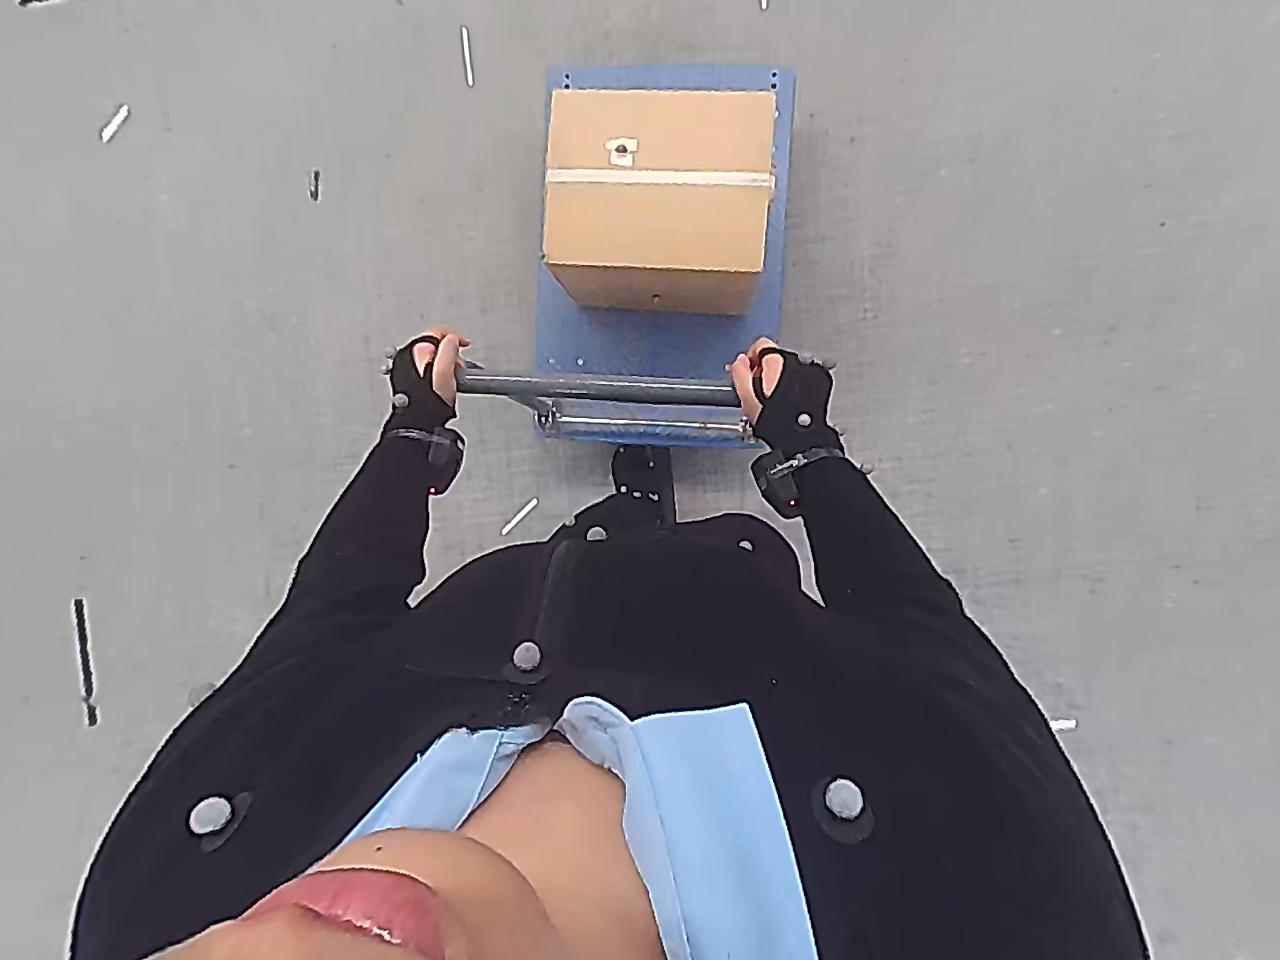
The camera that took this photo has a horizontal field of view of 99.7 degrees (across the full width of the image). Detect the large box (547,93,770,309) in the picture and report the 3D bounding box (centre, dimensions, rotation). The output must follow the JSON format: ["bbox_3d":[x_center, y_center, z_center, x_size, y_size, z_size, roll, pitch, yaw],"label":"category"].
[{"bbox_3d":[0.046,-0.555,1.137,0.408,0.320,0.320,4,92,6],"label":"large box"}]
